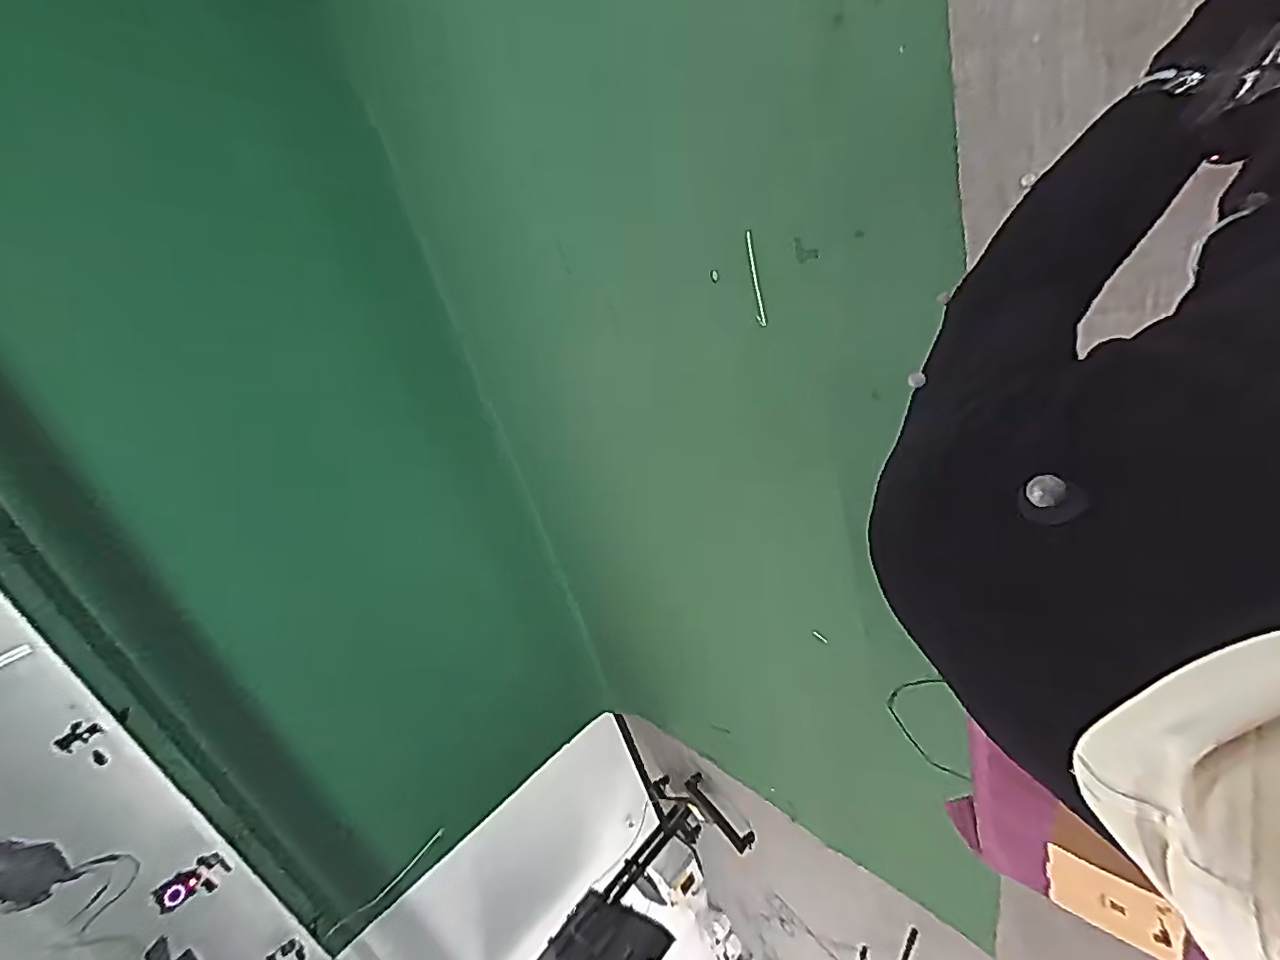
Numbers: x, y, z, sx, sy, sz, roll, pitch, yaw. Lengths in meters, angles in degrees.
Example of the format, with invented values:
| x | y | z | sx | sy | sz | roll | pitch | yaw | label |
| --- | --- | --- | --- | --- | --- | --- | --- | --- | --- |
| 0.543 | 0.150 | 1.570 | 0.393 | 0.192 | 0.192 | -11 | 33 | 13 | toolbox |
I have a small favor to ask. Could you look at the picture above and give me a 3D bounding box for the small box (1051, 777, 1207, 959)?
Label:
| x | y | z | sx | sy | sz | roll | pitch | yaw | label |
| --- | --- | --- | --- | --- | --- | --- | --- | --- | --- |
| 0.851 | 0.664 | 0.947 | 0.179 | 0.176 | 0.168 | 8 | 124 | 49 | small box |
